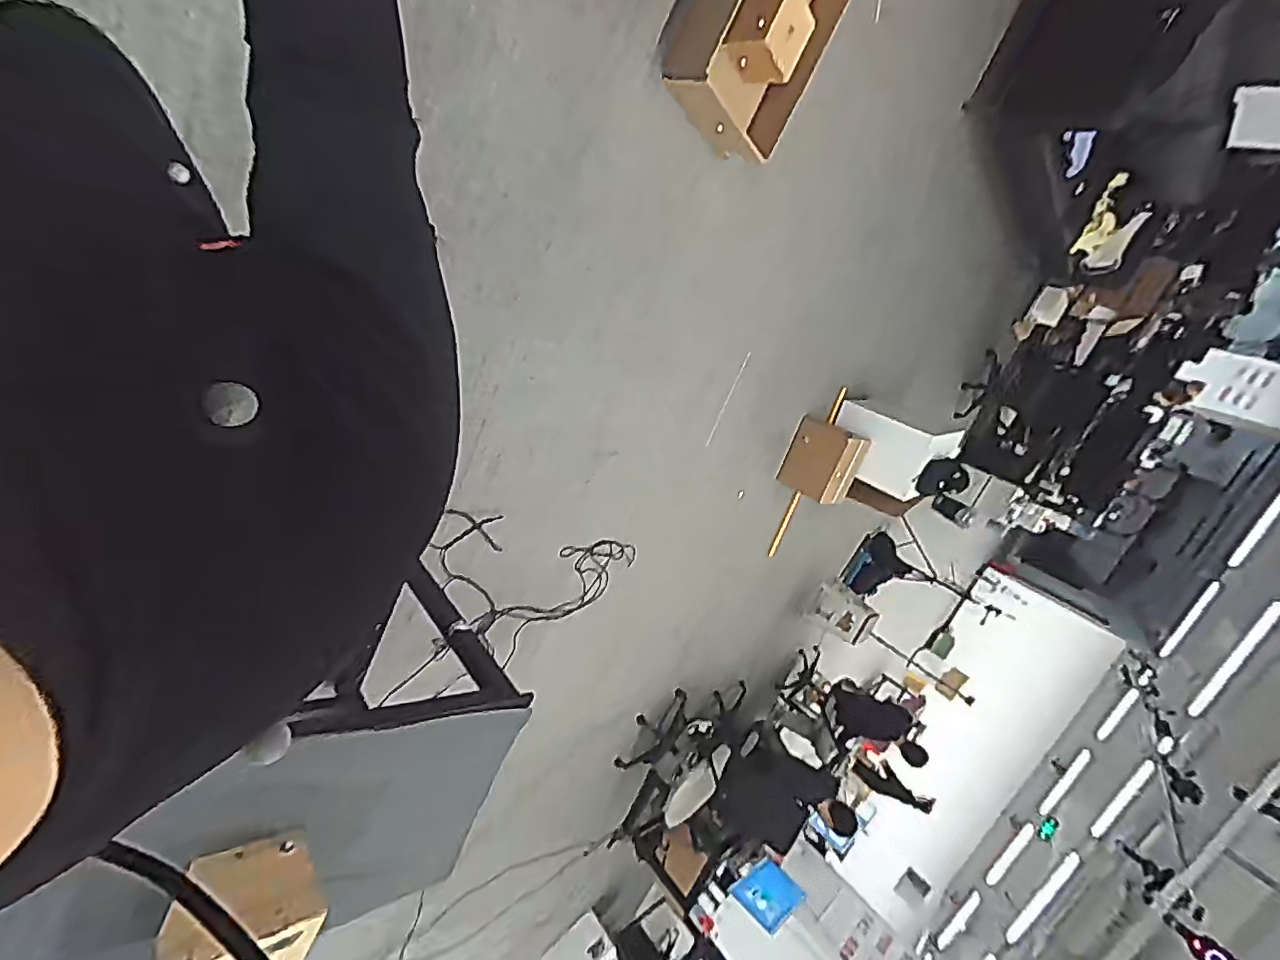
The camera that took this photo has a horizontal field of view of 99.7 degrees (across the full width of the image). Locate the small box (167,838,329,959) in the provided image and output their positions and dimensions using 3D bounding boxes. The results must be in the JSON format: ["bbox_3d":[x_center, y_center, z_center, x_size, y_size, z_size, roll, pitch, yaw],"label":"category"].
[{"bbox_3d":[-0.663,0.745,0.910,0.168,0.176,0.179,19,104,-50],"label":"small box"}]

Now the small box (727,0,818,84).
[{"bbox_3d":[0.388,-1.314,1.594,0.168,0.176,0.179,15,105,-51],"label":"small box"}]
